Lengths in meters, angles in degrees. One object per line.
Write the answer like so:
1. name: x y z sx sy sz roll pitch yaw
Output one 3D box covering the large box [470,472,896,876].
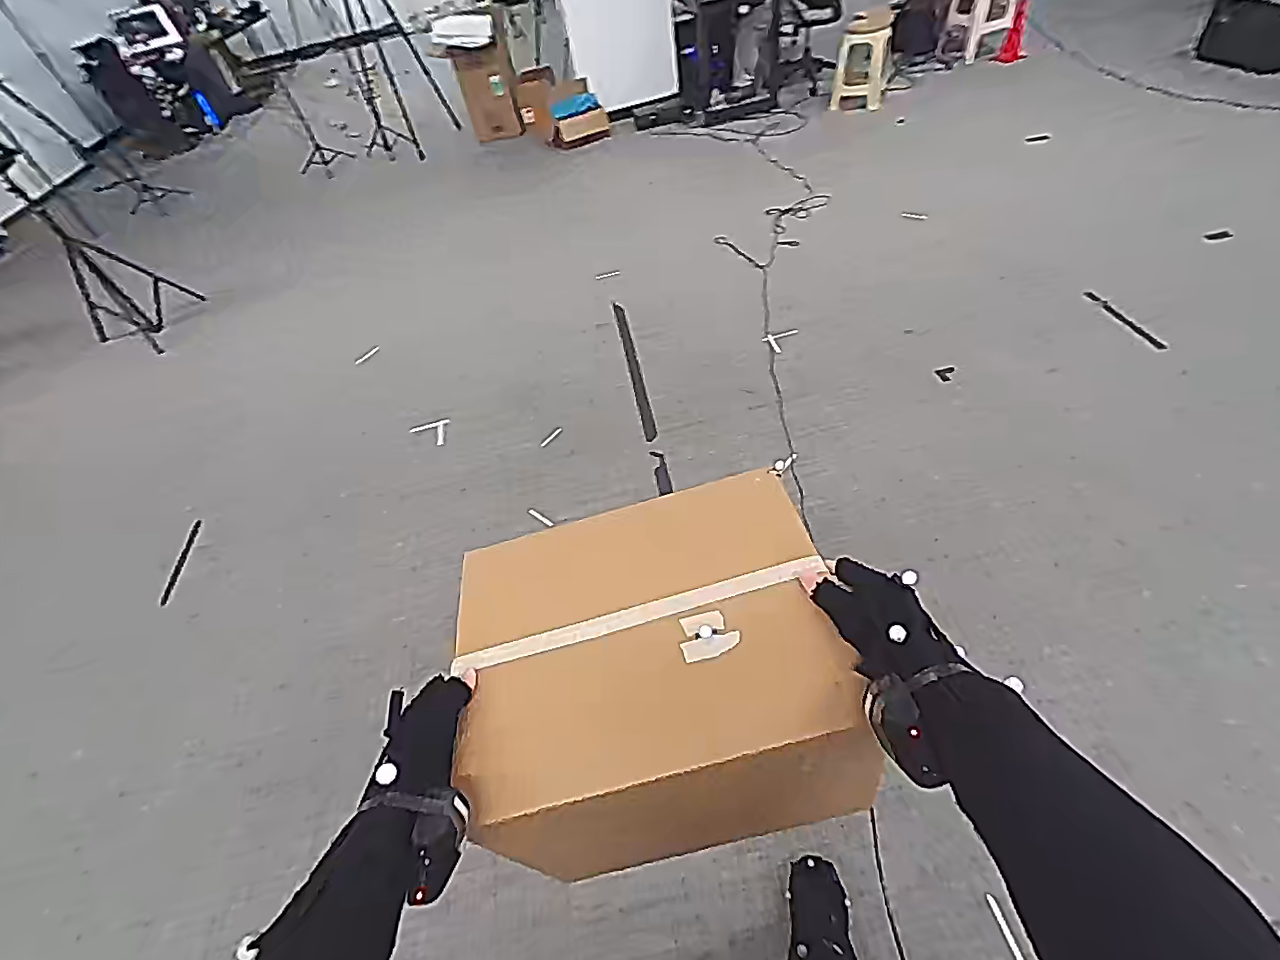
1. large box: 0.042 0.248 0.686 0.408 0.320 0.320 -15 45 2
